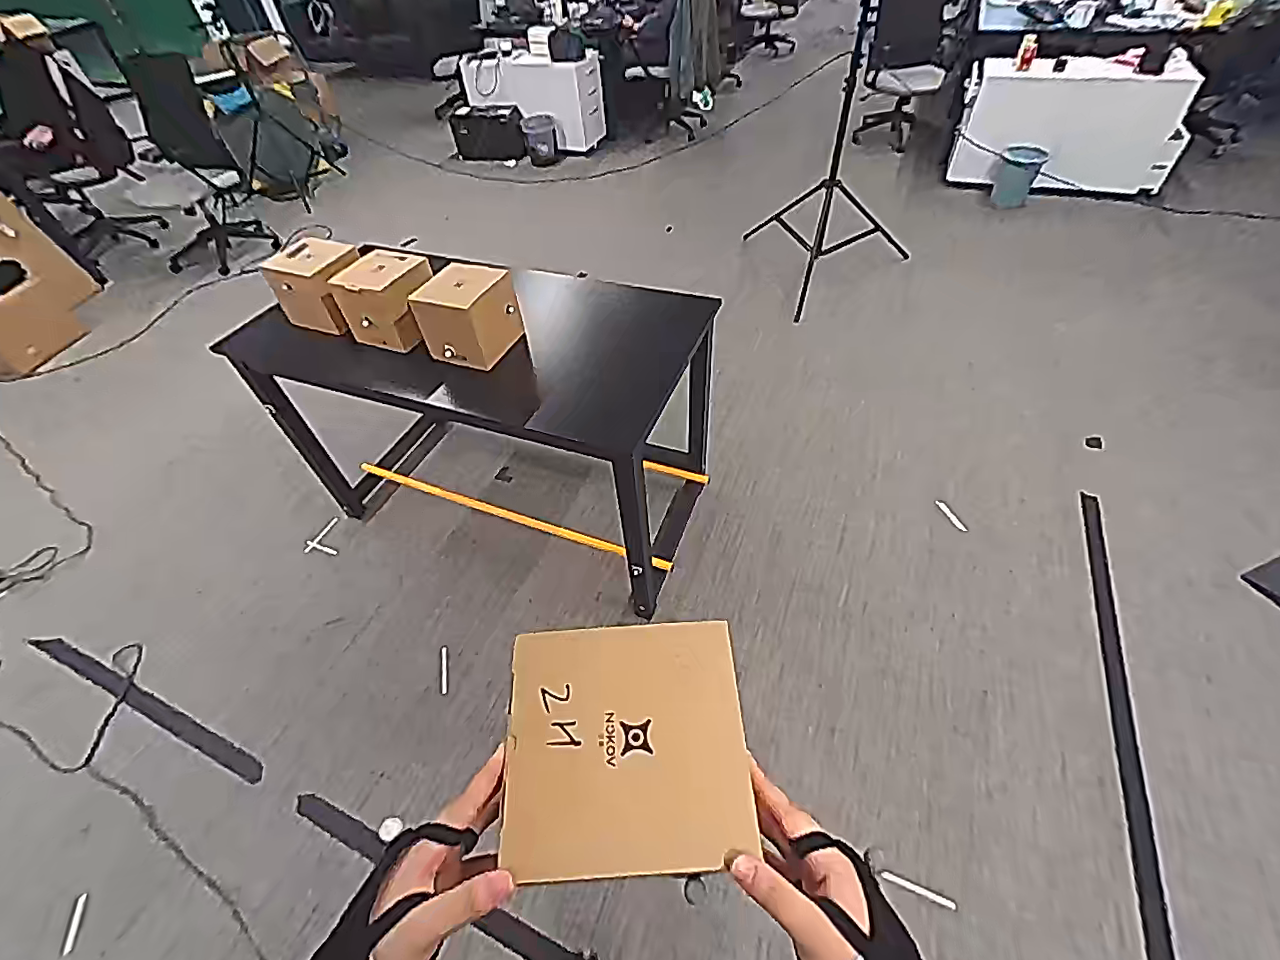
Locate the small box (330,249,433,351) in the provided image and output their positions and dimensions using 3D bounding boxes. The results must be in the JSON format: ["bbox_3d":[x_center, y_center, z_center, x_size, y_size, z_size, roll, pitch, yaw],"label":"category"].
[{"bbox_3d":[-0.617,-0.449,1.354,0.168,0.176,0.179,16,52,16],"label":"small box"}]

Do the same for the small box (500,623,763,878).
[{"bbox_3d":[-0.006,0.233,0.464,0.179,0.176,0.168,-4,55,0],"label":"small box"}]

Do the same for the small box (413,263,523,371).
[{"bbox_3d":[-0.397,-0.388,1.287,0.168,0.176,0.179,14,52,18],"label":"small box"}]

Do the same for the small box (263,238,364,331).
[{"bbox_3d":[-0.828,-0.514,1.427,0.179,0.176,0.168,16,52,17],"label":"small box"}]
